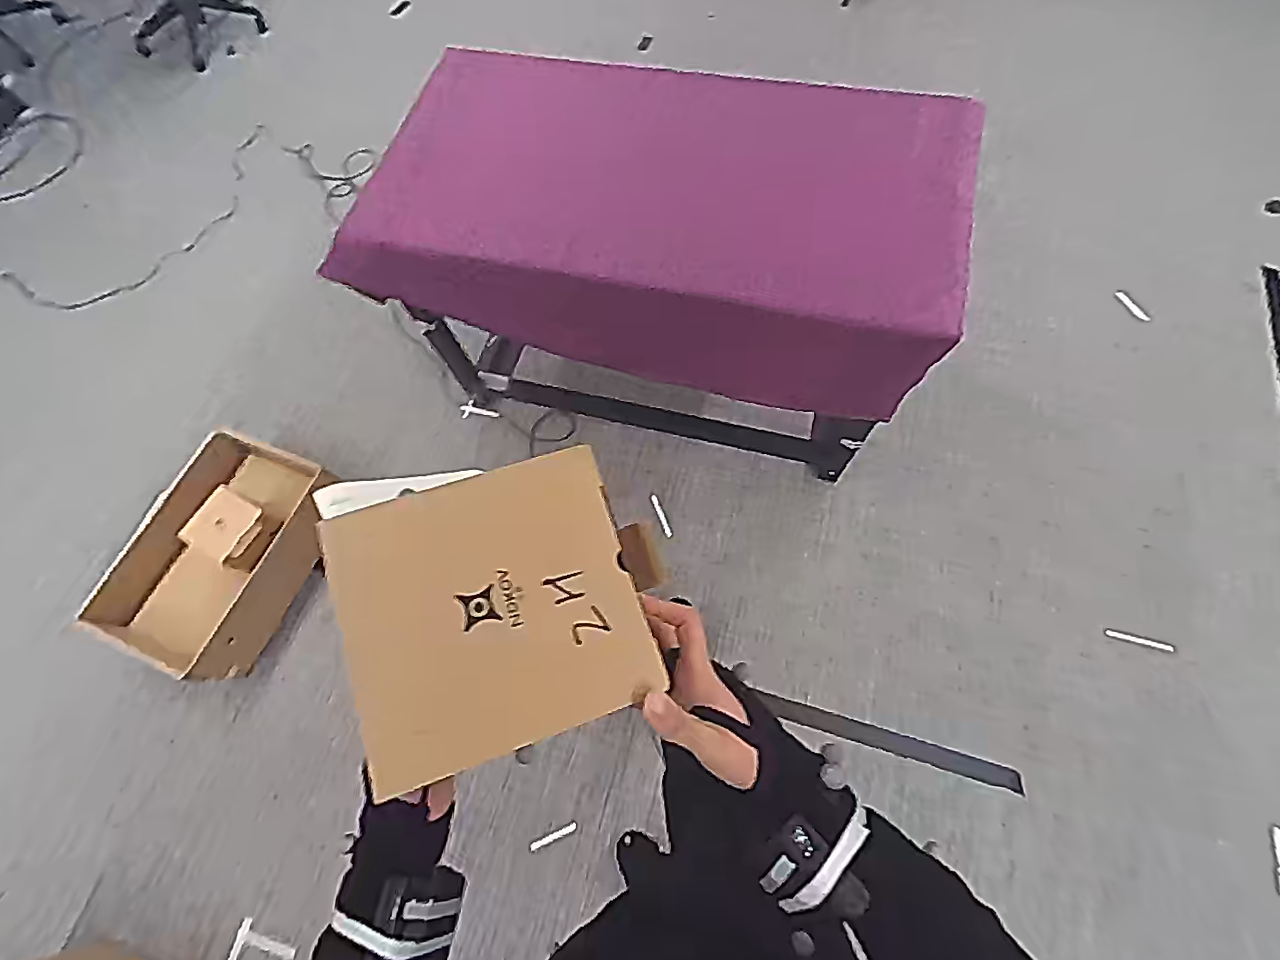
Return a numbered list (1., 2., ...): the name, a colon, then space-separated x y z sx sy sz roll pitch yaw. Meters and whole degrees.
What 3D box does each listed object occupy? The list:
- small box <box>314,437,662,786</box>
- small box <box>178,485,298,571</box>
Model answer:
1. small box: -0.099 0.090 0.398 0.179 0.176 0.168 -16 77 -11
2. small box: -1.123 0.144 1.529 0.179 0.176 0.168 27 73 14
